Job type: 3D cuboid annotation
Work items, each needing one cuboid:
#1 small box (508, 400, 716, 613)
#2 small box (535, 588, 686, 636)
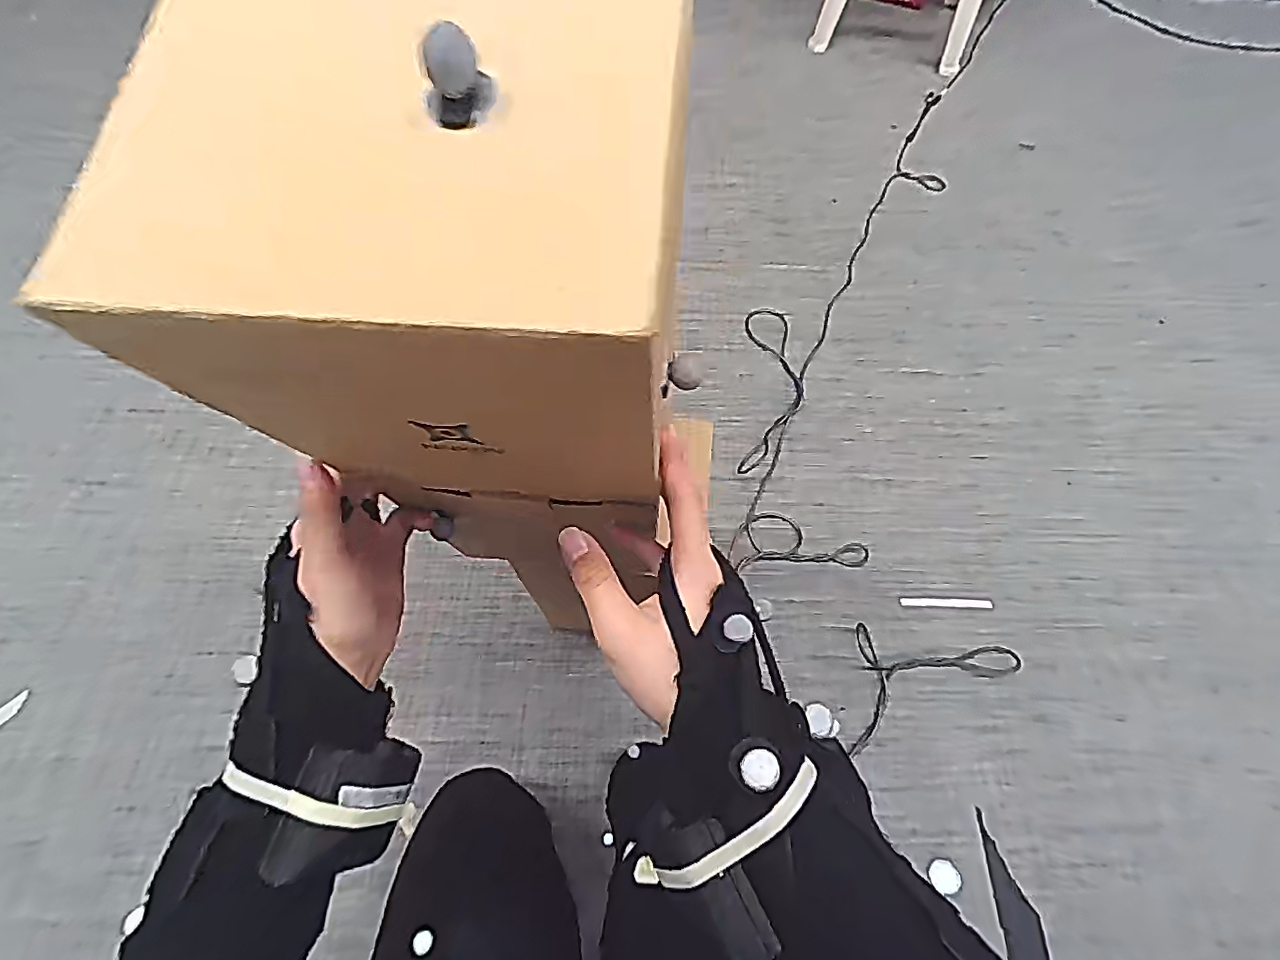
[{"bbox_3d":[-0.022,0.037,0.574,0.179,0.176,0.168,7,64,1],"label":"small box"},{"bbox_3d":[-0.029,0.106,0.723,0.179,0.176,0.168,6,63,2],"label":"small box"}]
